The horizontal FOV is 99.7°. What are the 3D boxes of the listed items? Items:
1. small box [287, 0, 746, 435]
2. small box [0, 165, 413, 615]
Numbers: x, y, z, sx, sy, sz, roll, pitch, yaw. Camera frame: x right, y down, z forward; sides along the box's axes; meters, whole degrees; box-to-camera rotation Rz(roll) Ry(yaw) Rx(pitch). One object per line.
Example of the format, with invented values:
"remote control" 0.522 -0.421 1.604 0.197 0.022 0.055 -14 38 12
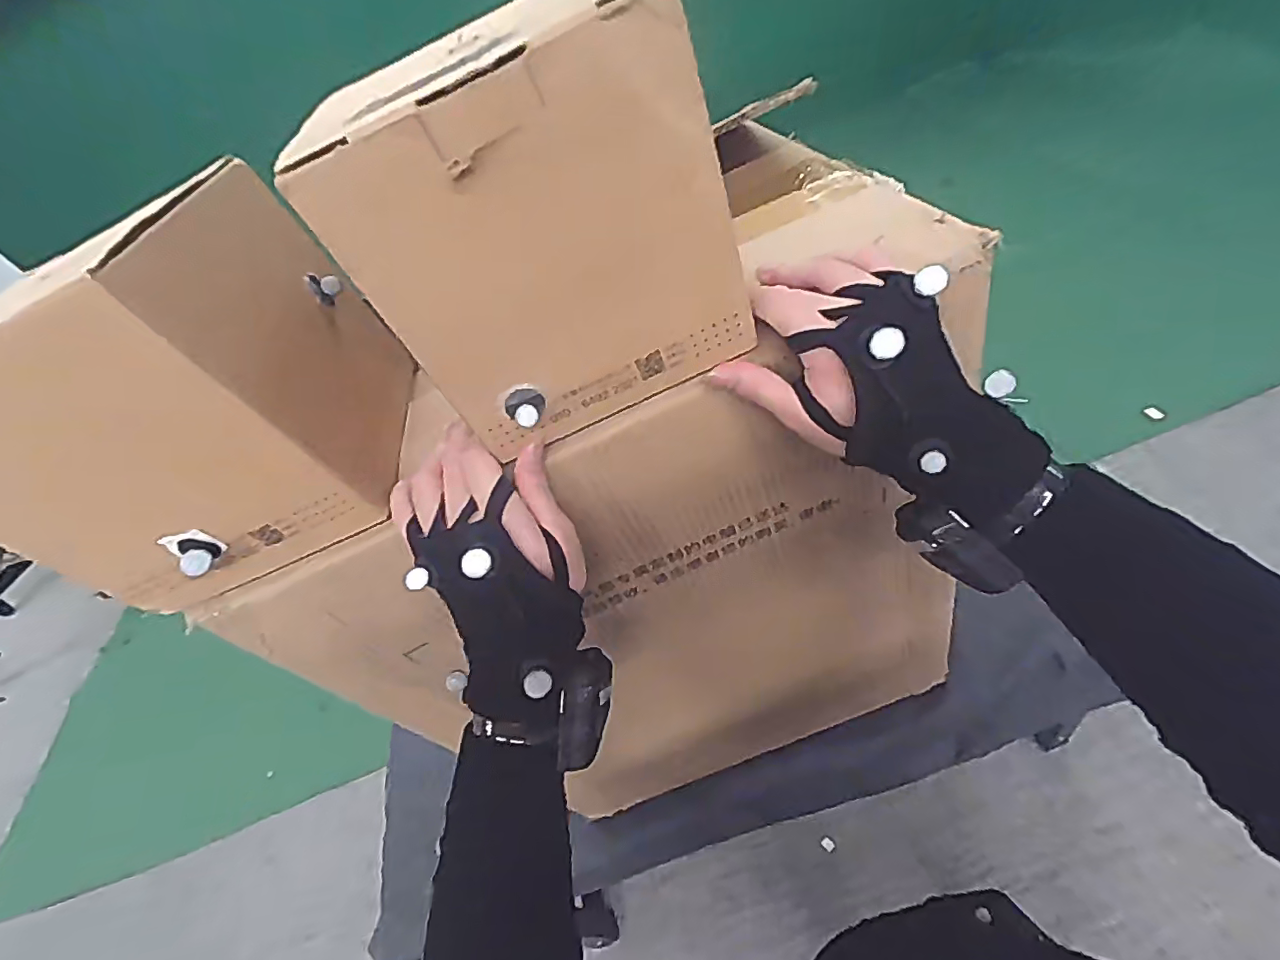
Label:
"small box" -0.055 -0.148 0.314 0.168 0.176 0.179 -25 44 3
"small box" -0.263 -0.050 0.330 0.168 0.176 0.179 -25 45 6
